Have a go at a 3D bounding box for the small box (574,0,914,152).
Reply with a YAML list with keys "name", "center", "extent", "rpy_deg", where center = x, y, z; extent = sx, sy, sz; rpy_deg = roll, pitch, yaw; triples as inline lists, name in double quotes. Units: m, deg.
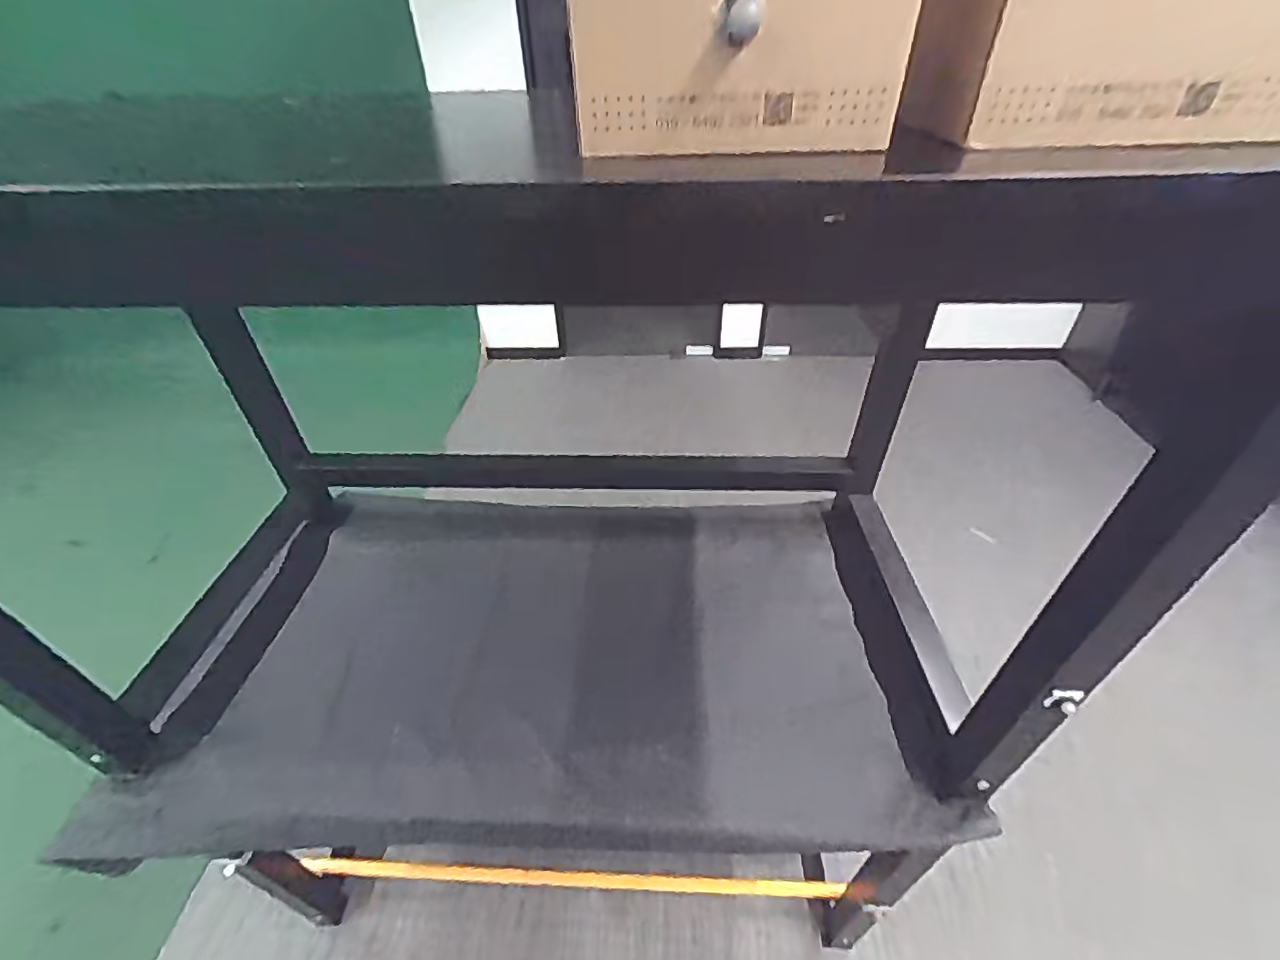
- name: "small box"
  center: [0.051, -0.296, 0.306]
  extent: [0.168, 0.176, 0.179]
  rpy_deg: [0, 39, 2]
